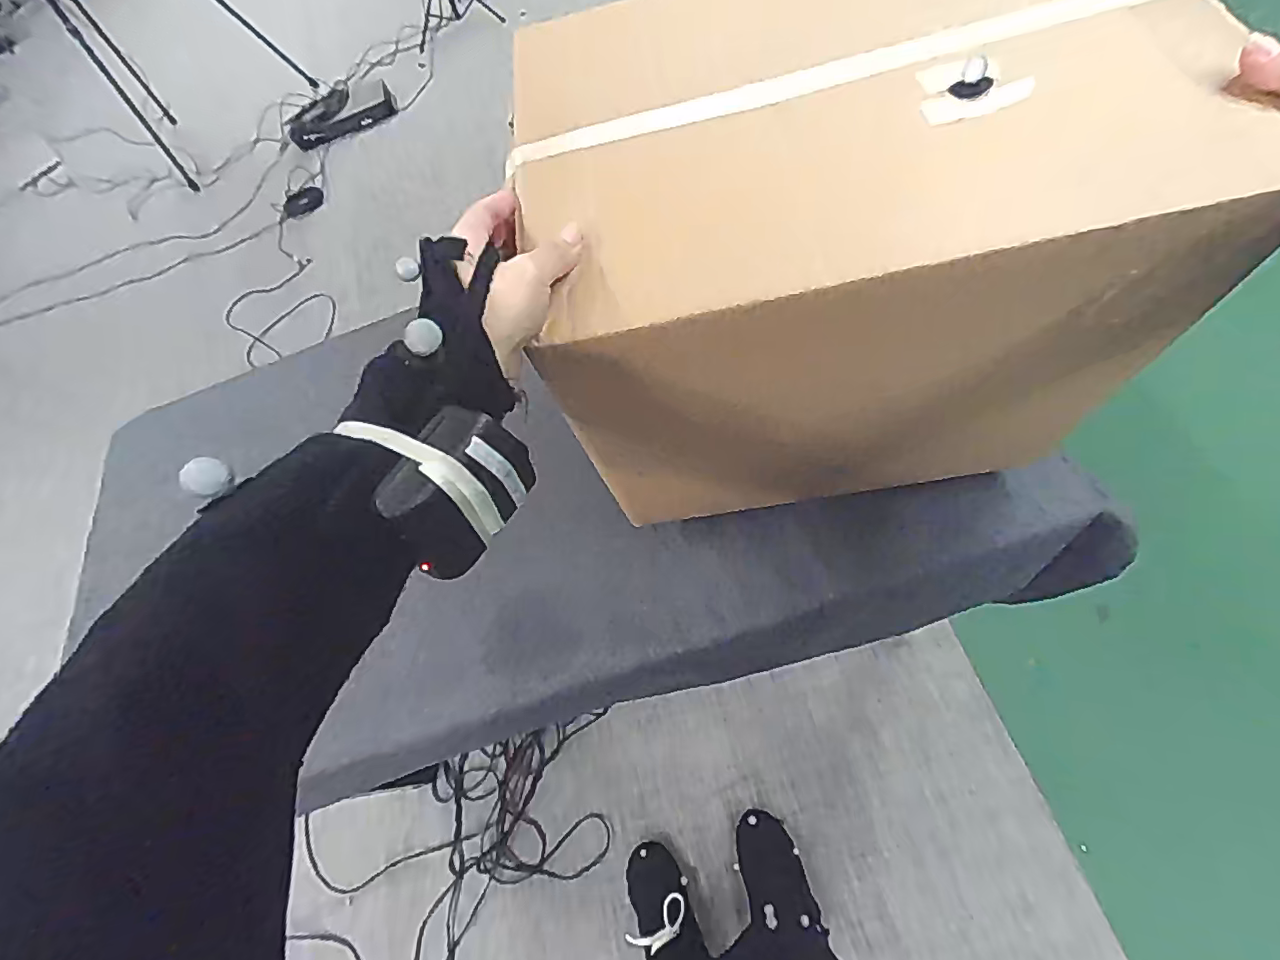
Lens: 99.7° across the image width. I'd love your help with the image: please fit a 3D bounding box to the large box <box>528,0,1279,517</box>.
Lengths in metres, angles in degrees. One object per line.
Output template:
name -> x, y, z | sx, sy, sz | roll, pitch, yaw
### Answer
large box -> 0.146, -0.187, 0.475 | 0.408, 0.320, 0.320 | -10, 66, 6
